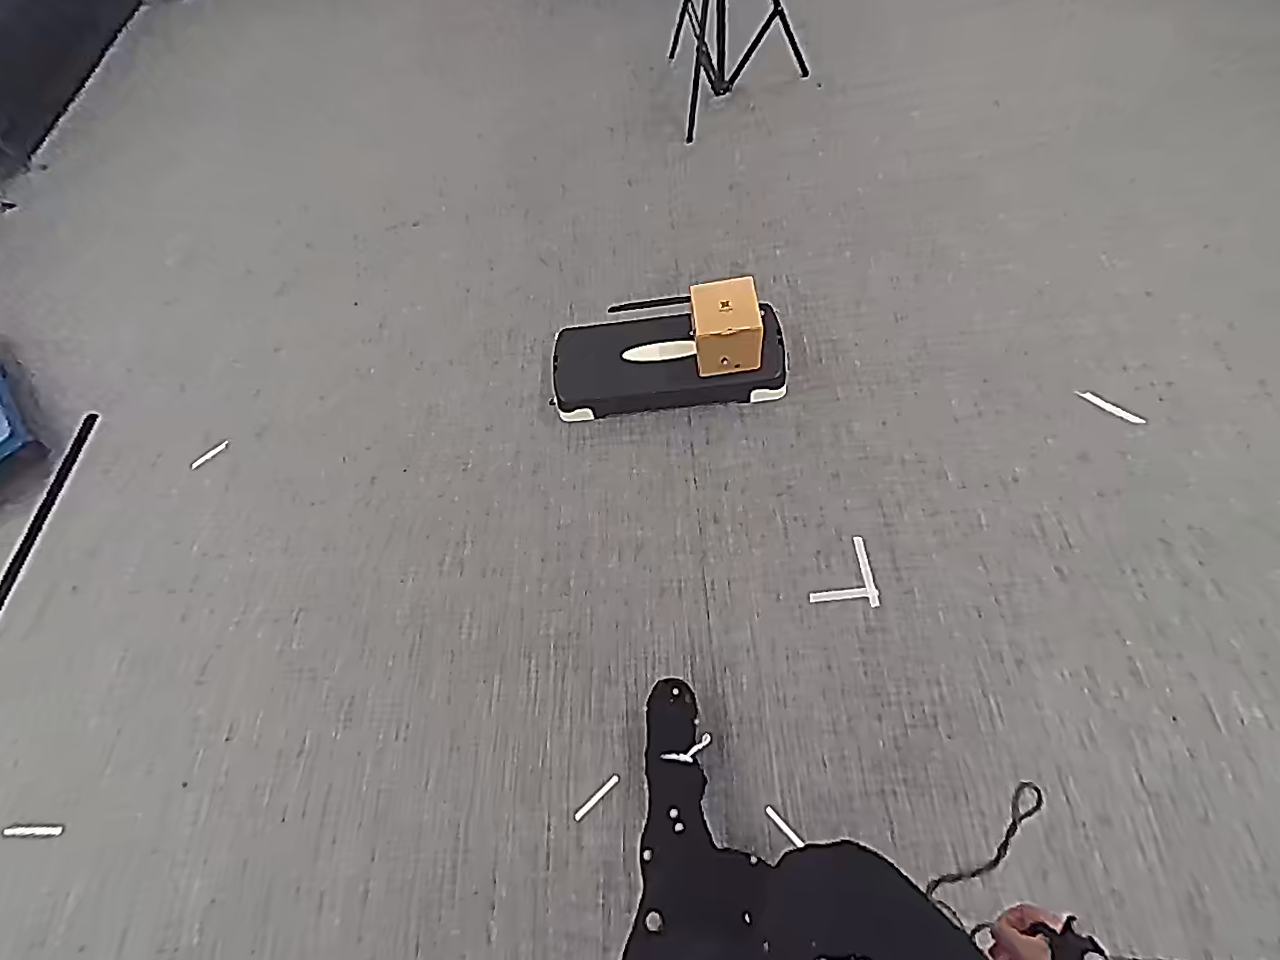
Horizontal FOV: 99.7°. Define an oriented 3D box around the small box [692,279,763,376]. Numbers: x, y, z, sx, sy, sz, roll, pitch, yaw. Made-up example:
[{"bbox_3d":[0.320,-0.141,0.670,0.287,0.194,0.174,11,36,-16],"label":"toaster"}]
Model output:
[{"bbox_3d":[0.229,-0.405,1.449,0.168,0.176,0.179,-7,64,5],"label":"small box"}]
